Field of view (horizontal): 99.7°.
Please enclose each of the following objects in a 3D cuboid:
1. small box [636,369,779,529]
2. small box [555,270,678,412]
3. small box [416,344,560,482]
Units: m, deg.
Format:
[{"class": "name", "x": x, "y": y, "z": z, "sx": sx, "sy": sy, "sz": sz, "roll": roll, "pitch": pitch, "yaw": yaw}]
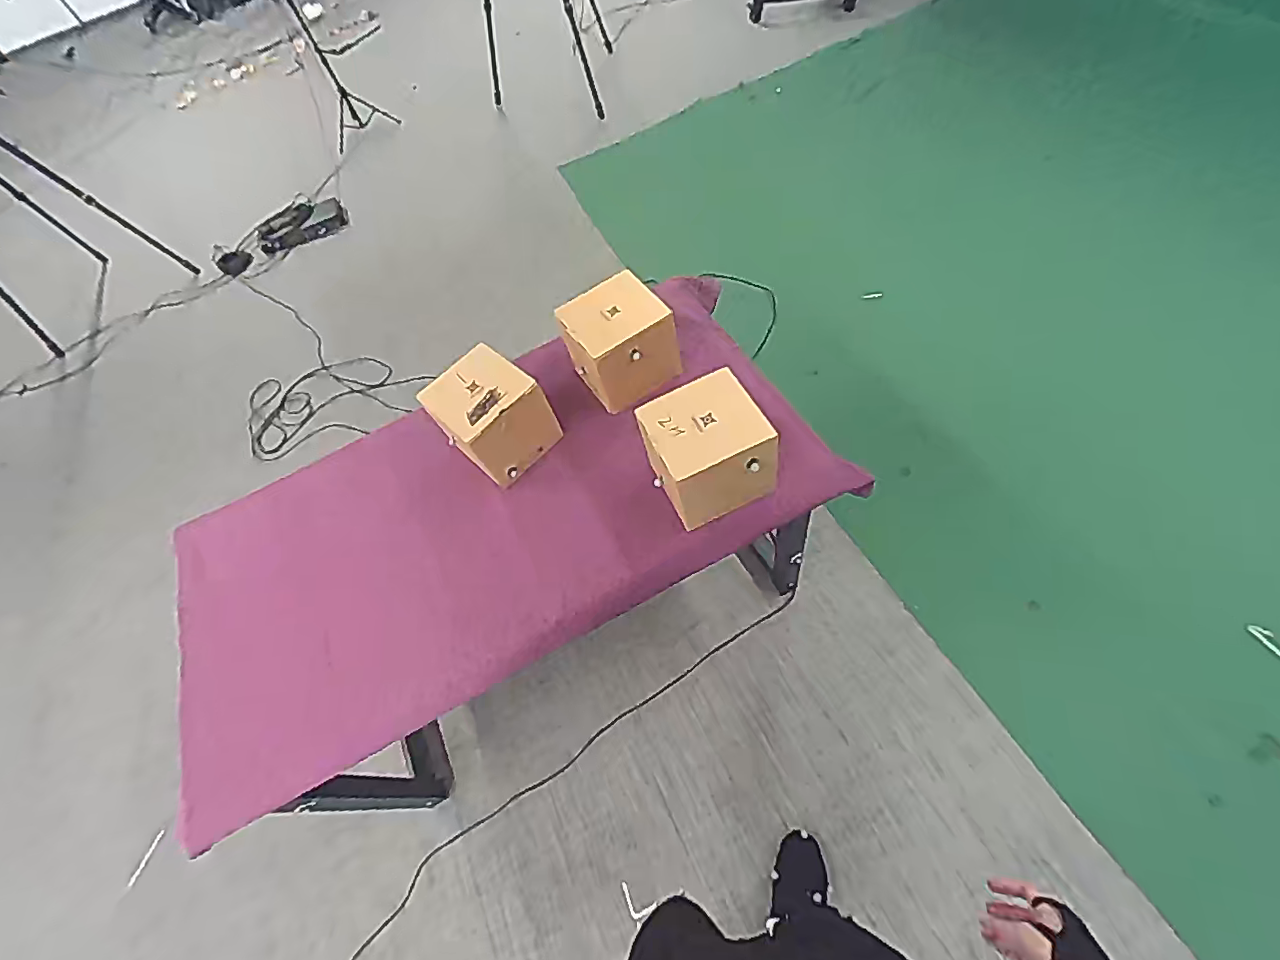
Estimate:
[{"class": "small box", "x": 0.114, "y": -0.047, "z": 0.906, "sx": 0.179, "sy": 0.176, "sz": 0.168, "roll": -25, "pitch": 57, "yaw": -2}, {"class": "small box", "x": -0.037, "y": -0.272, "z": 1.075, "sx": 0.179, "sy": 0.176, "sz": 0.168, "roll": -34, "pitch": 60, "yaw": -6}, {"class": "small box", "x": -0.282, "y": -0.120, "z": 1.038, "sx": 0.179, "sy": 0.176, "sz": 0.168, "roll": 37, "pitch": 73, "yaw": 28}]
